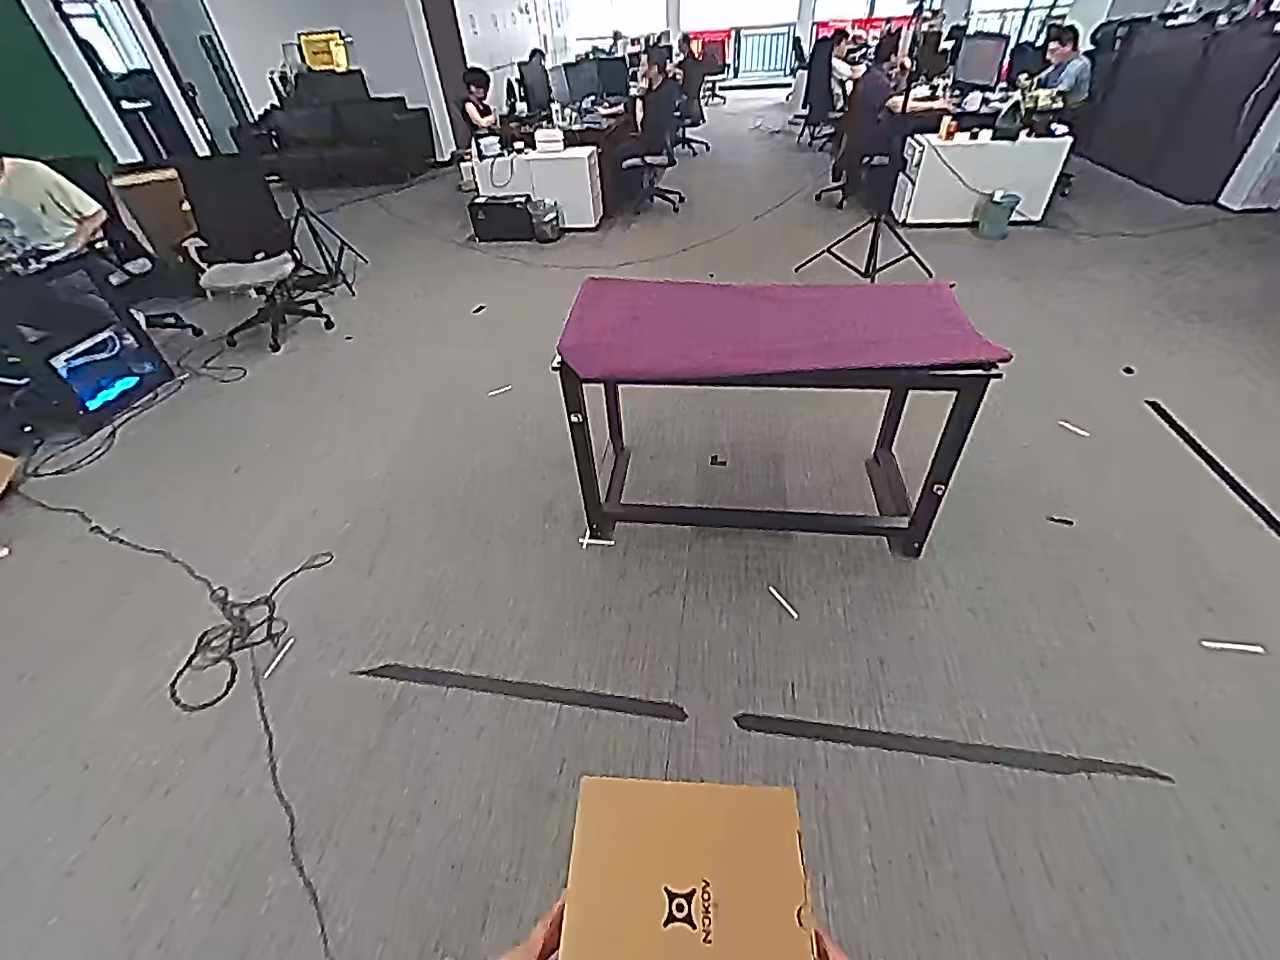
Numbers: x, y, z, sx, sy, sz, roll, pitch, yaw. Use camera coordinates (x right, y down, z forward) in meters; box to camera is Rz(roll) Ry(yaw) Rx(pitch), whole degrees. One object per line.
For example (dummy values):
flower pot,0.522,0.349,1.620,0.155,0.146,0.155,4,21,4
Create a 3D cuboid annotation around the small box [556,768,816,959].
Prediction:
small box,0.036,0.354,0.438,0.179,0.176,0.168,1,44,3
